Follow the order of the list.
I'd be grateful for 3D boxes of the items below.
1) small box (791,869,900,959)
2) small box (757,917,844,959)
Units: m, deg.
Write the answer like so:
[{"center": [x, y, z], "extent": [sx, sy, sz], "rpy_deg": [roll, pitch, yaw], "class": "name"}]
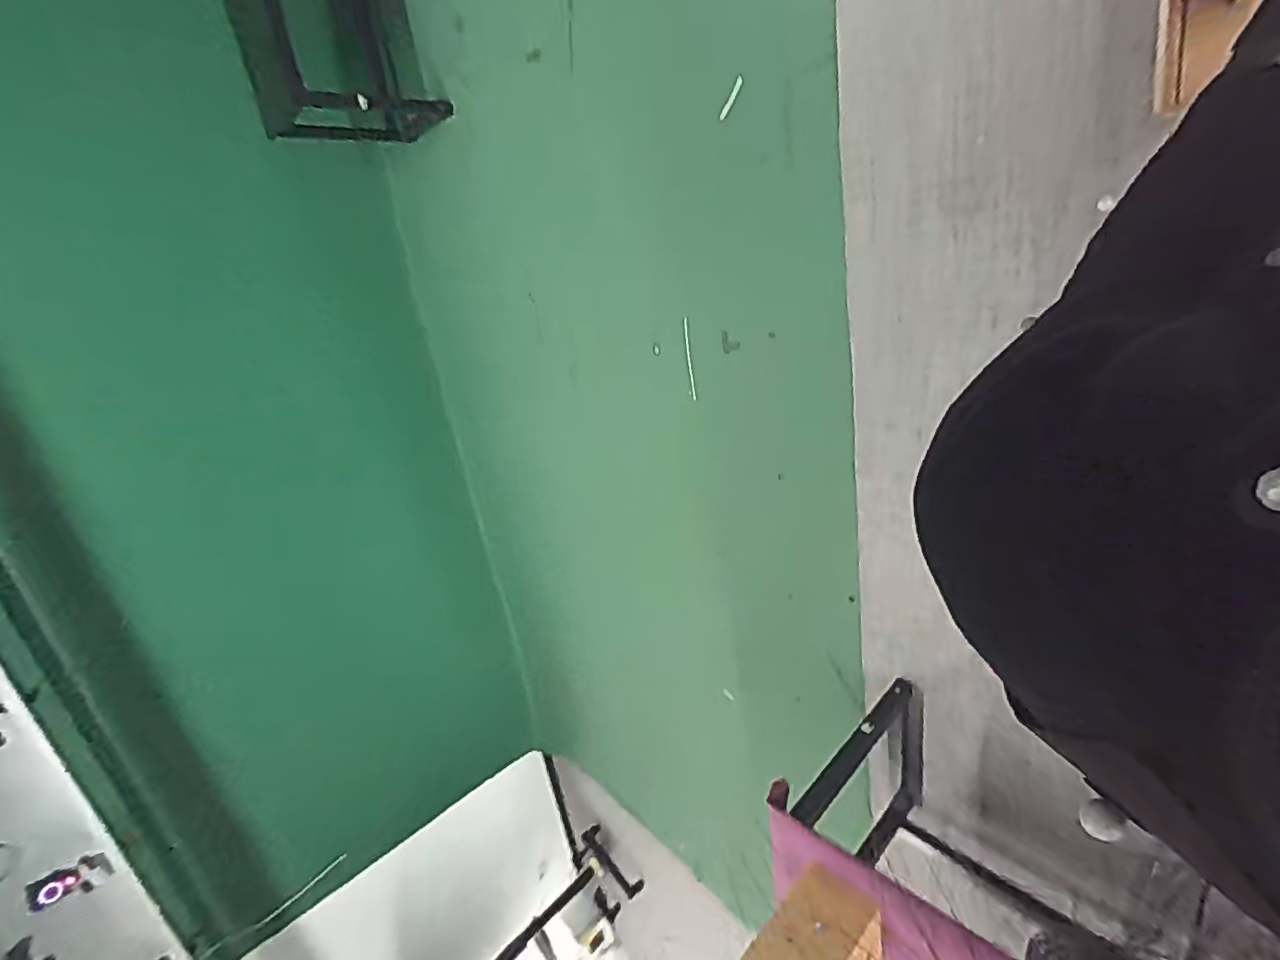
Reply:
[{"center": [0.475, 1.052, 1.246], "extent": [0.179, 0.176, 0.168], "rpy_deg": [10, 116, 48], "class": "small box"}, {"center": [0.351, 1.106, 1.153], "extent": [0.168, 0.176, 0.179], "rpy_deg": [10, 117, 47], "class": "small box"}]
